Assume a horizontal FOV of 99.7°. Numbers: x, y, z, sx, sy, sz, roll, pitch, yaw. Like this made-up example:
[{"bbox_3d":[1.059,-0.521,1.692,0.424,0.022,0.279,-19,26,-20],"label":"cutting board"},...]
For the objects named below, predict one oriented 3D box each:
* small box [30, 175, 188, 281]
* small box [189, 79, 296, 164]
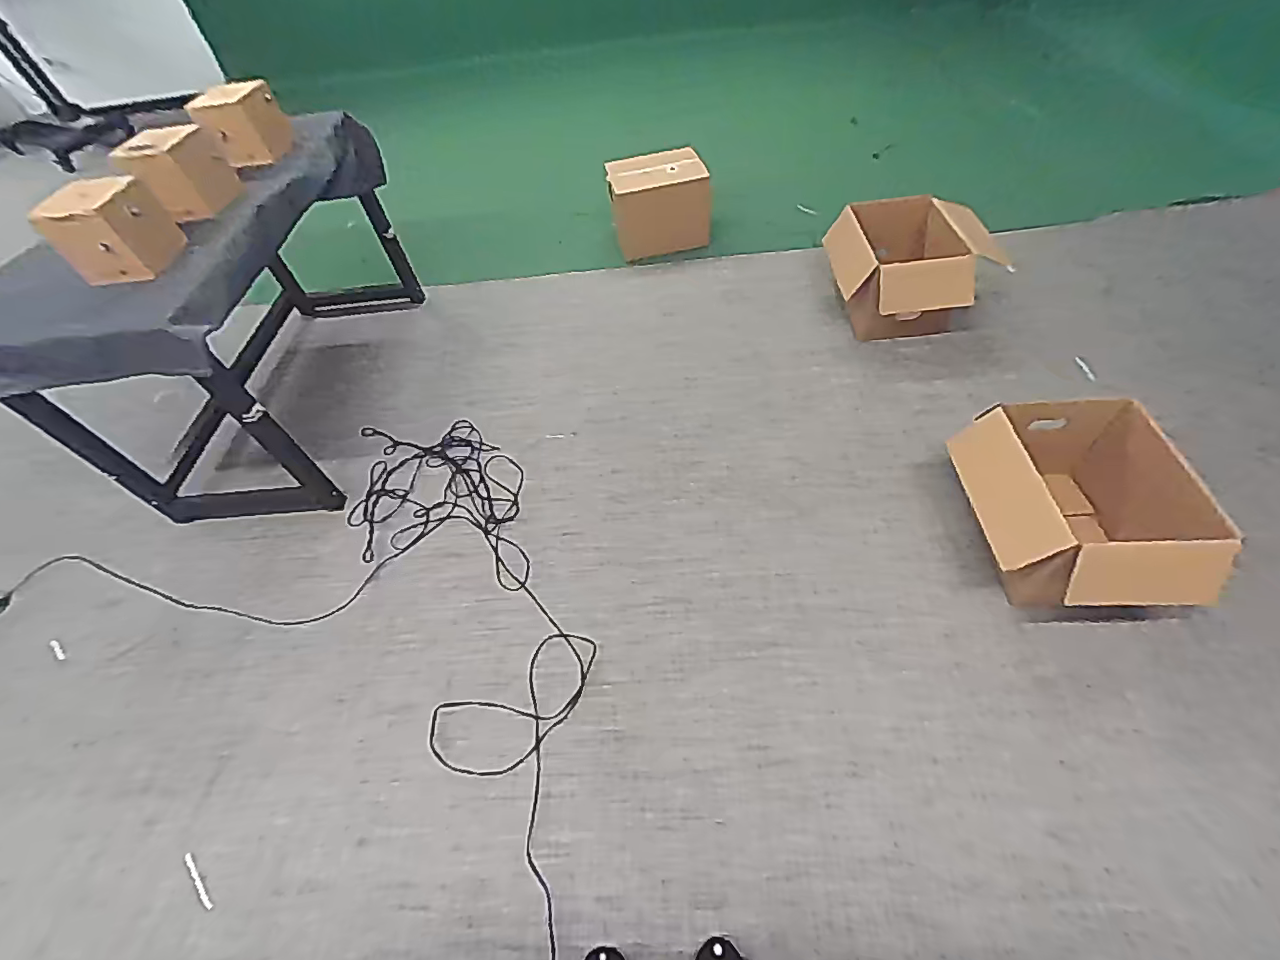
[{"bbox_3d":[-1.229,-0.586,1.273,0.168,0.176,0.179,-5,52,3],"label":"small box"},{"bbox_3d":[-1.194,-1.082,1.643,0.168,0.176,0.179,-3,53,6],"label":"small box"}]
